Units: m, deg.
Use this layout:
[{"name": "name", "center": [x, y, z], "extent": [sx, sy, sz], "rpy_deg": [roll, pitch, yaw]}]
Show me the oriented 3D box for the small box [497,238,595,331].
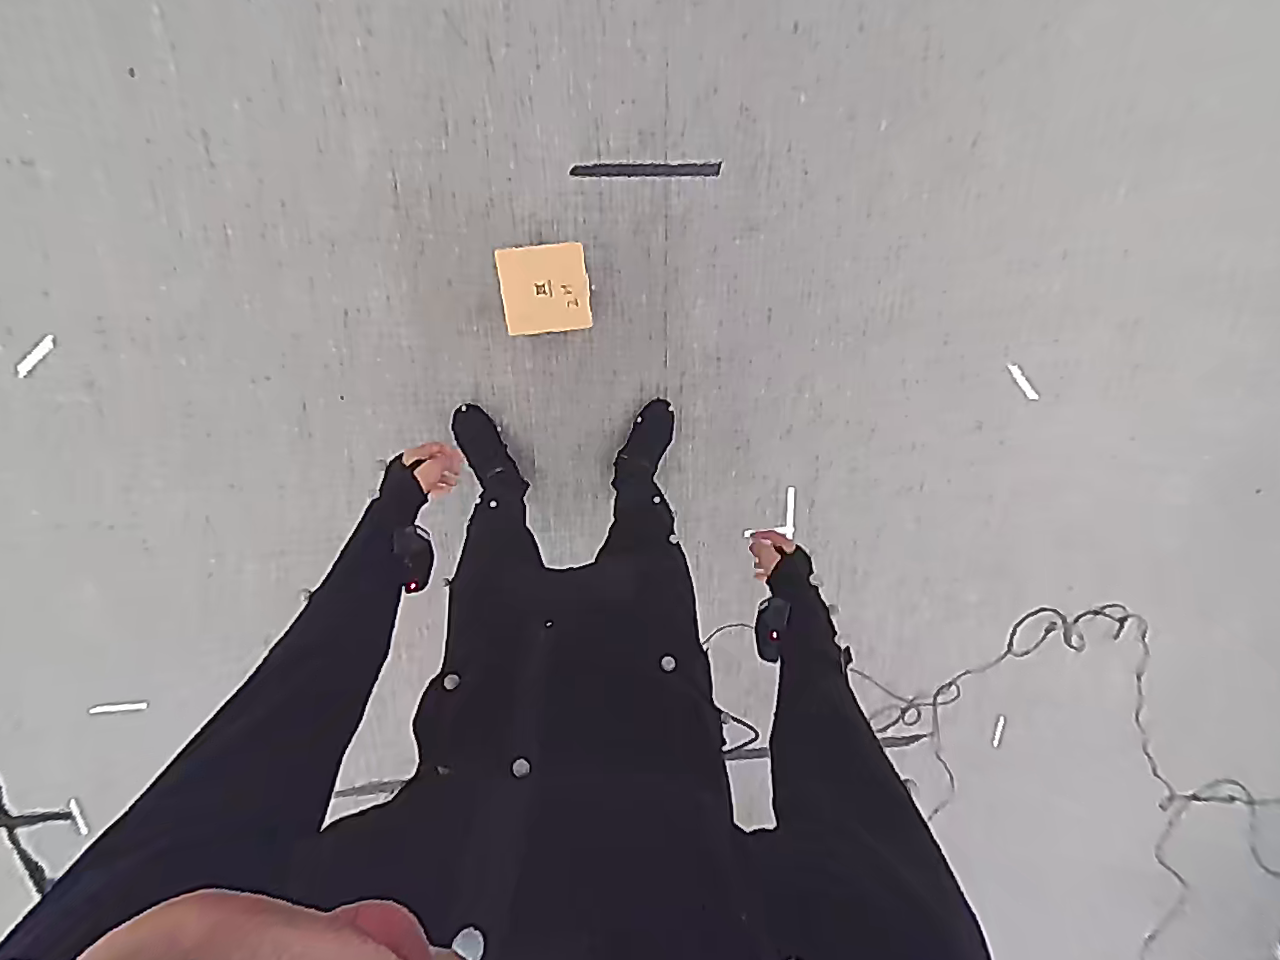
[{"name": "small box", "center": [-0.190, -0.410, 1.146], "extent": [0.179, 0.176, 0.168], "rpy_deg": [-7, 109, -4]}]
